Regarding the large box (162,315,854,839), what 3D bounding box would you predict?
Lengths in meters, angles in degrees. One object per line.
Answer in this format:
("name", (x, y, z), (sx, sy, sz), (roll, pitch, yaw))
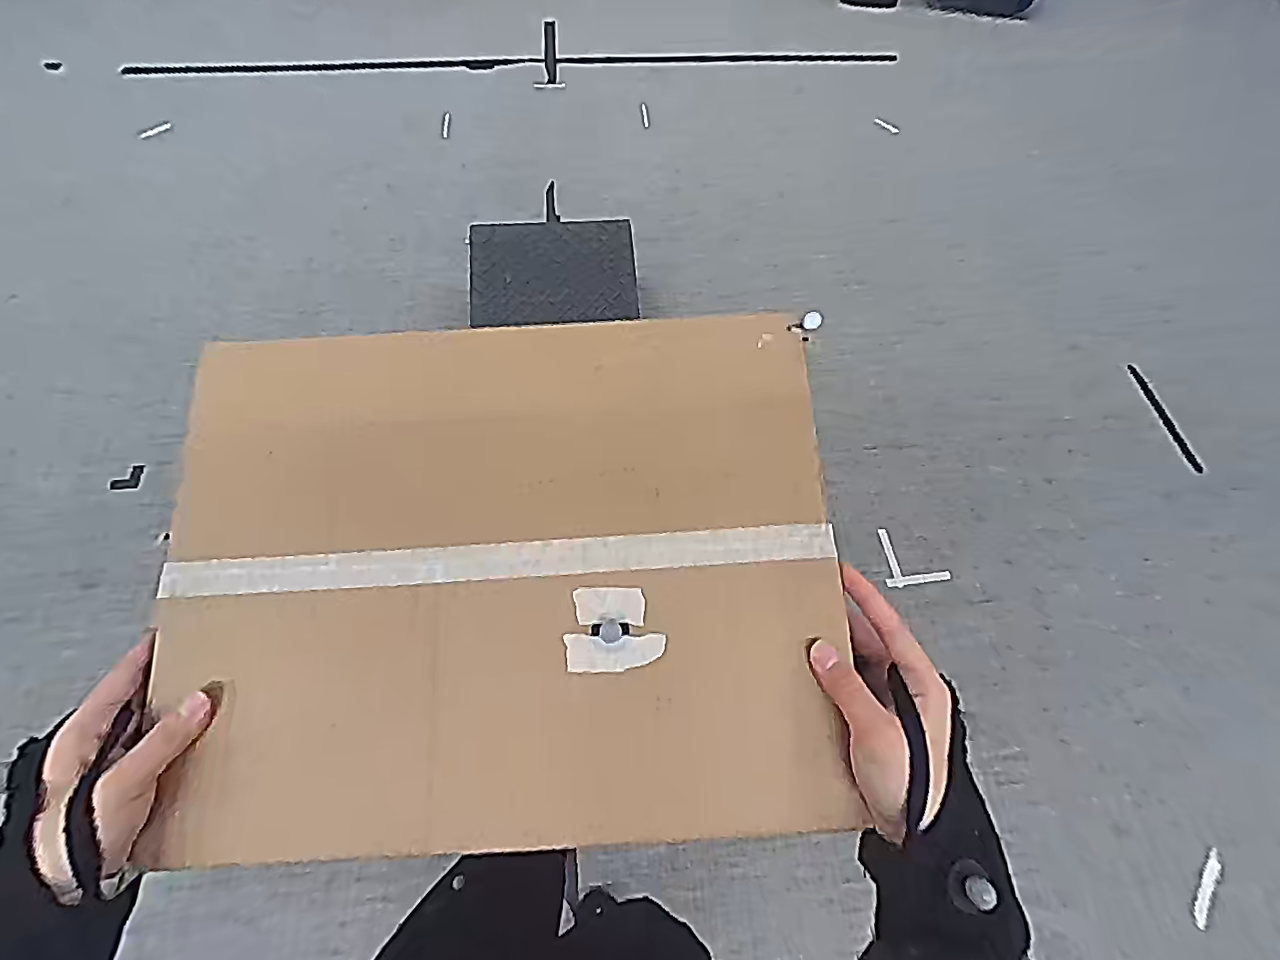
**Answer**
("large box", (-0.083, 0.080, 0.488), (0.408, 0.320, 0.320), (-3, 77, -1))
